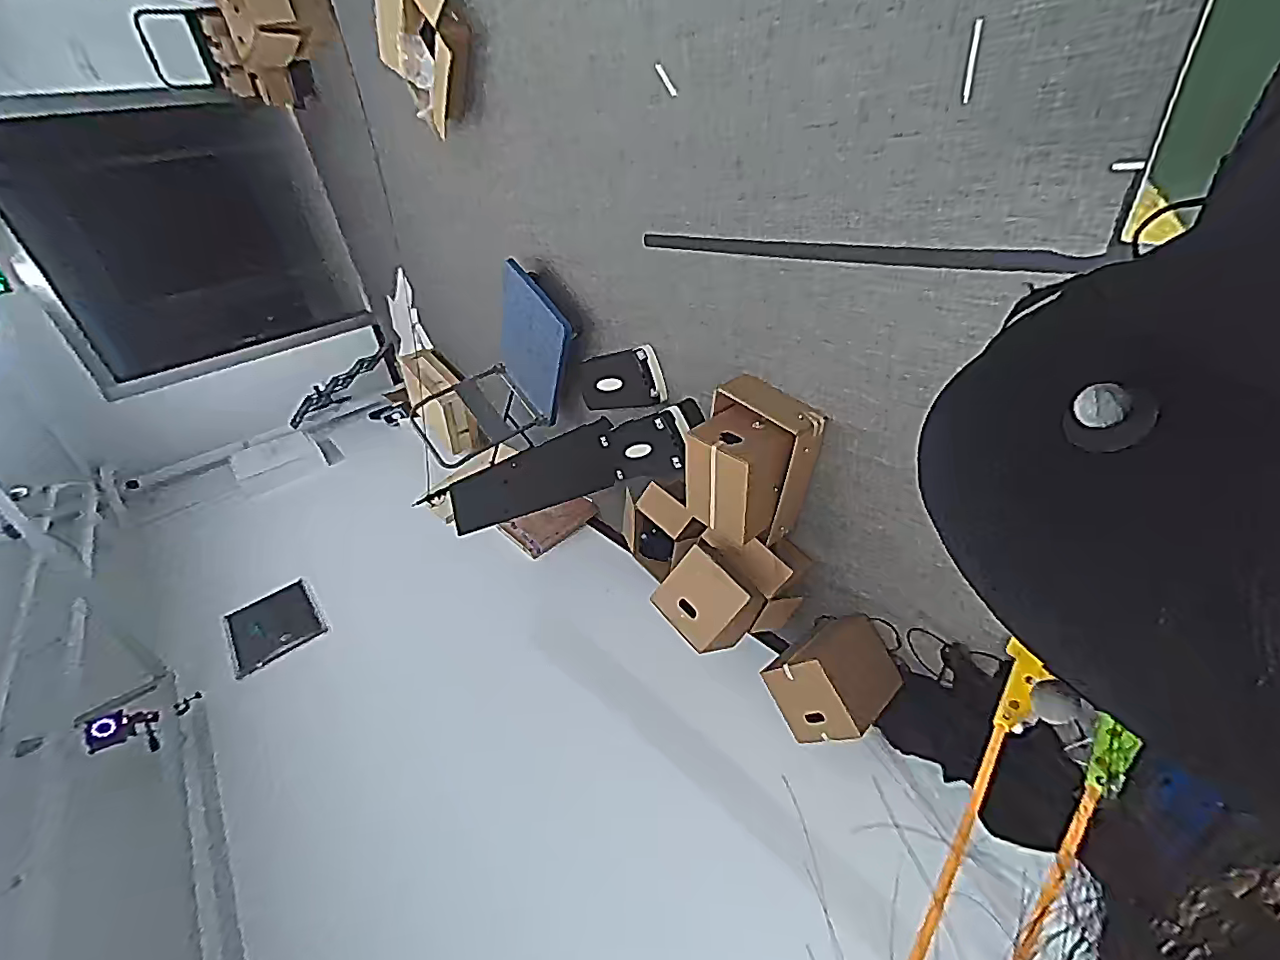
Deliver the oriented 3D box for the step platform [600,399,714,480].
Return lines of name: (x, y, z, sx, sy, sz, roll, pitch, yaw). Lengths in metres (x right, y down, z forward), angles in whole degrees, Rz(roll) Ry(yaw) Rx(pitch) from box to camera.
step platform: (0.058, -0.186, 2.718, 0.684, 0.204, 0.286, -11, 106, 58)
